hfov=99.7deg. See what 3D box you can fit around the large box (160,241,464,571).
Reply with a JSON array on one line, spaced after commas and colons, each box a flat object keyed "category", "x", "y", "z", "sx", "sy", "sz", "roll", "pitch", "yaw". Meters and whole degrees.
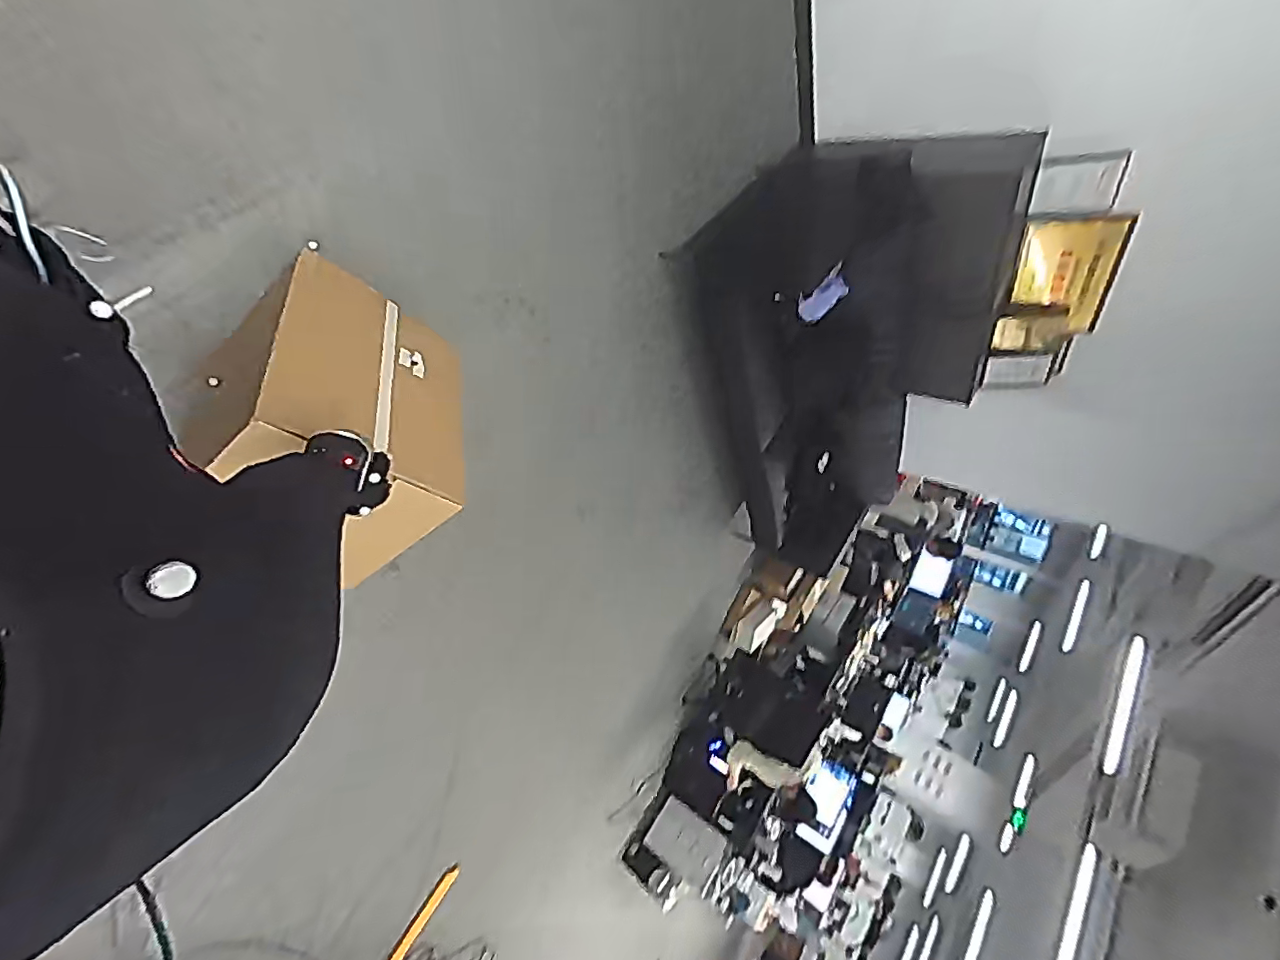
[{"category": "large box", "x": -0.538, "y": -0.109, "z": 0.939, "sx": 0.320, "sy": 0.408, "sz": 0.320, "roll": -33, "pitch": 141, "yaw": 21}]
